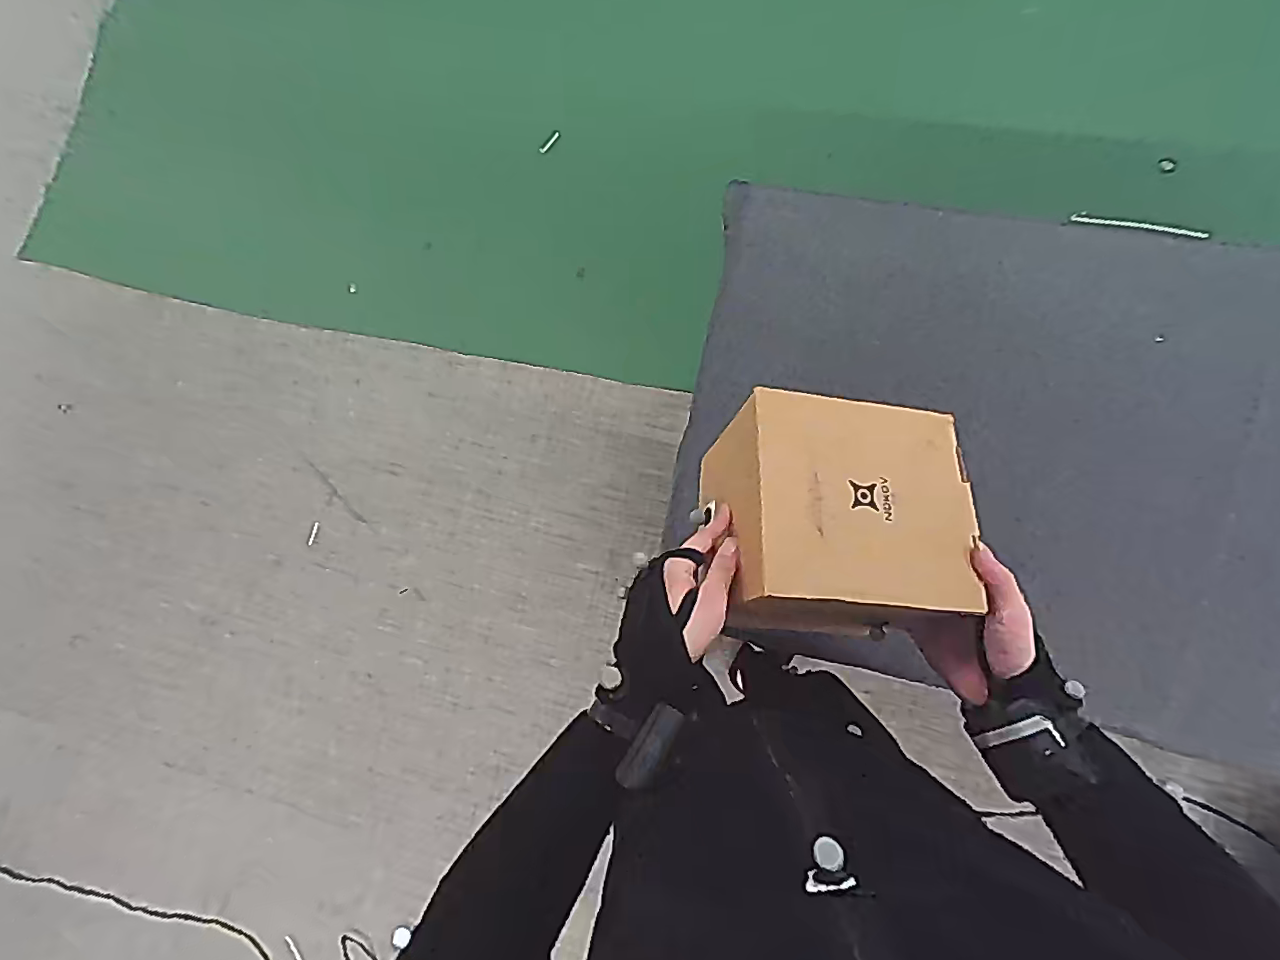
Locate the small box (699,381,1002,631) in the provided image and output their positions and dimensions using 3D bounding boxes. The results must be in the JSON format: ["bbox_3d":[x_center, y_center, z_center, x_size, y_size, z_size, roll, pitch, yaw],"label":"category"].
[{"bbox_3d":[0.160,0.037,0.468,0.179,0.176,0.168,6,69,-9],"label":"small box"}]
